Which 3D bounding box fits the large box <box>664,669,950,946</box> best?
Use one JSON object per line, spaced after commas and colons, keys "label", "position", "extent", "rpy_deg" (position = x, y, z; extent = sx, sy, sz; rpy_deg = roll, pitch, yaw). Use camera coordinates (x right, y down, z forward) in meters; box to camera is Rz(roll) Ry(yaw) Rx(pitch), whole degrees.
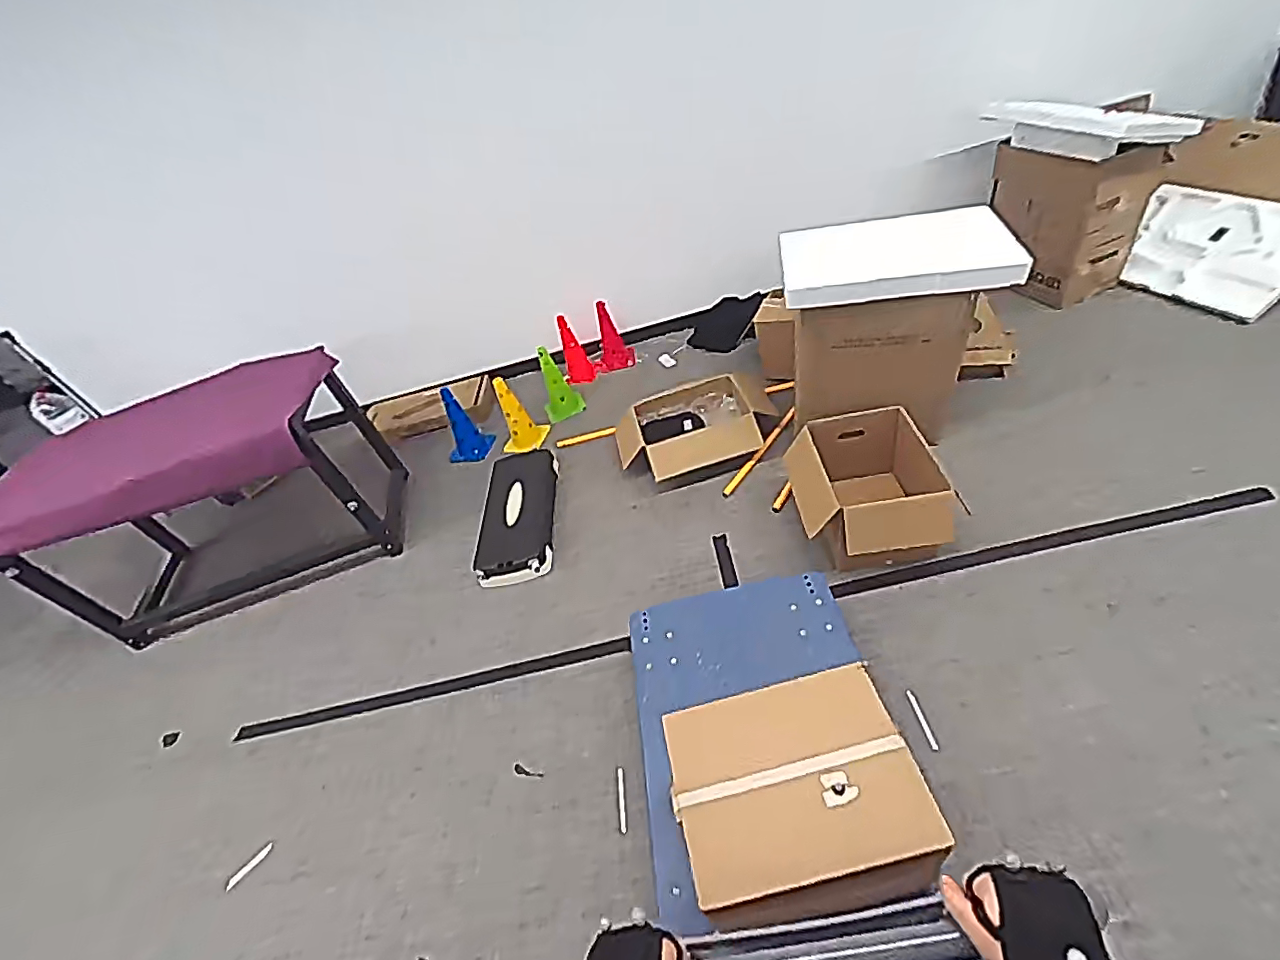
{"label": "large box", "position": [0.292, 0.625, 1.036], "extent": [0.408, 0.320, 0.320], "rpy_deg": [-16, 42, 1]}
